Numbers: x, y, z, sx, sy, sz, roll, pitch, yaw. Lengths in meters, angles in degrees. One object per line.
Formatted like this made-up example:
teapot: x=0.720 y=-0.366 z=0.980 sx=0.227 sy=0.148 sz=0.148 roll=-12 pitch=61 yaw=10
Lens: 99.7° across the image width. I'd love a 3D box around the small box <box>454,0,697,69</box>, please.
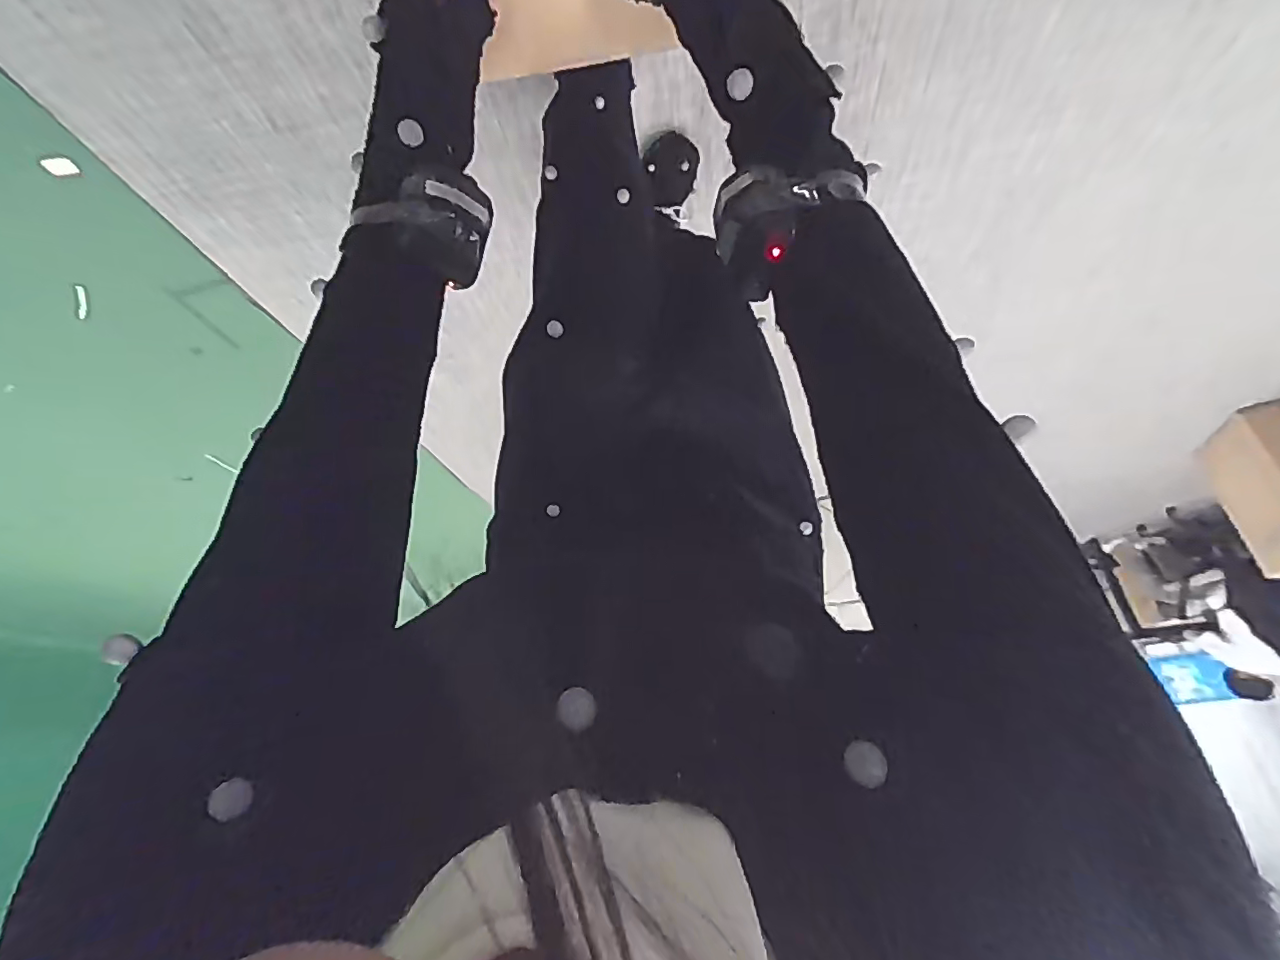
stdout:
small box: x=-0.056 y=-0.435 z=0.385 sx=0.179 sy=0.176 sz=0.168 roll=-6 pitch=150 yaw=0
